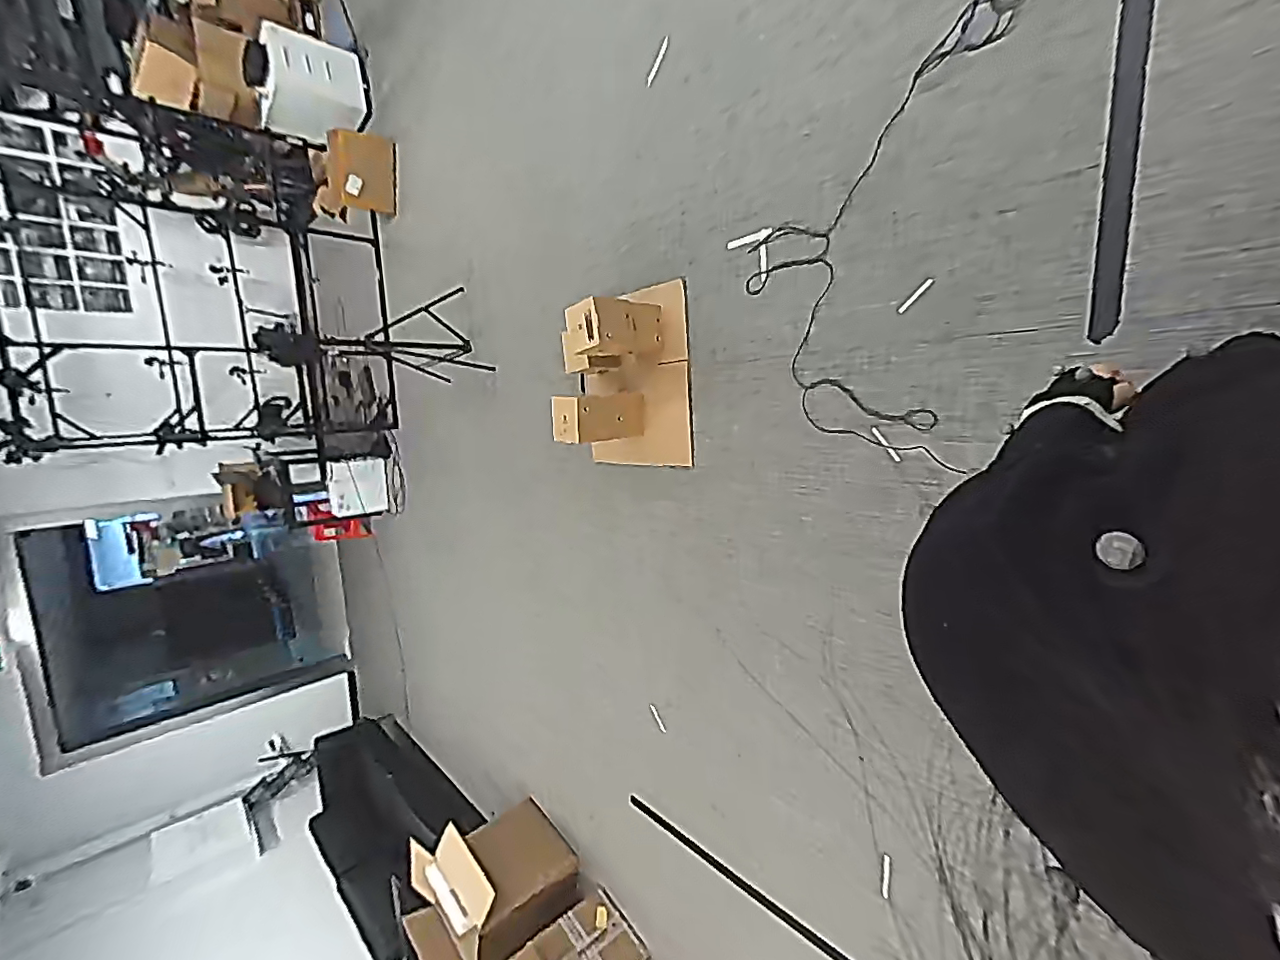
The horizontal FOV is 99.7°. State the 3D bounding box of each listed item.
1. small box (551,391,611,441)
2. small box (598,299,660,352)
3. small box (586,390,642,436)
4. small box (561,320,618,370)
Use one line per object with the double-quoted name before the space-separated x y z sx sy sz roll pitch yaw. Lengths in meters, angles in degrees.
"small box" -0.227 -0.251 2.089 0.168 0.176 0.179 12 107 46
"small box" -0.036 -0.584 2.061 0.179 0.176 0.168 -1 97 48
"small box" -0.106 -0.276 2.198 0.168 0.176 0.179 10 106 46
"small box" -0.209 -0.558 2.256 0.168 0.176 0.179 -1 98 48
